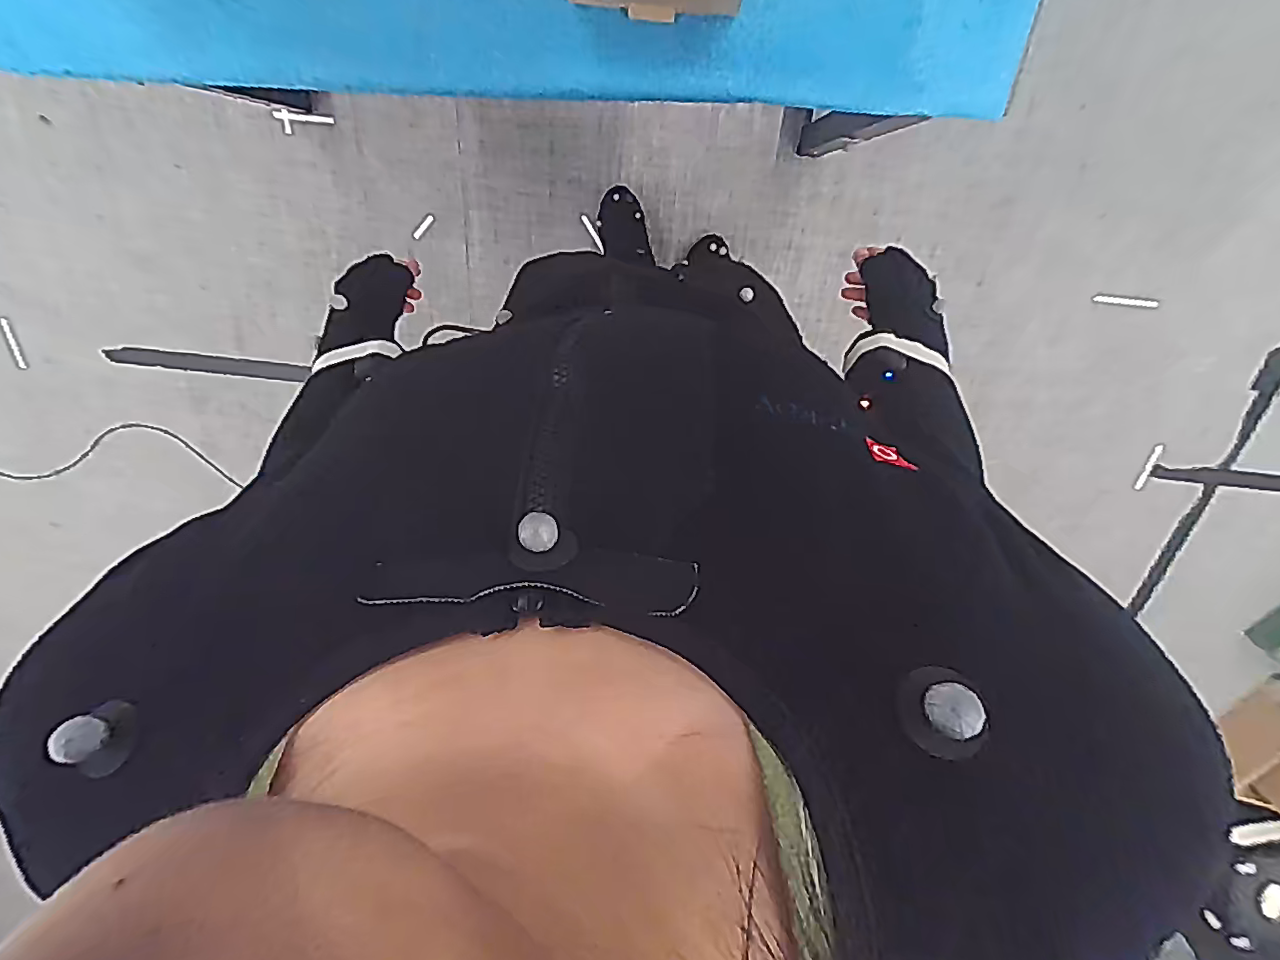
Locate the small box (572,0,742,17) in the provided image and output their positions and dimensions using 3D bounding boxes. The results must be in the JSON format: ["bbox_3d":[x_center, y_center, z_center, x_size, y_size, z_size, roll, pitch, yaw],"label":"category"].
[{"bbox_3d":[0.014,-0.499,0.418,0.168,0.176,0.179,5,116,0],"label":"small box"}]
